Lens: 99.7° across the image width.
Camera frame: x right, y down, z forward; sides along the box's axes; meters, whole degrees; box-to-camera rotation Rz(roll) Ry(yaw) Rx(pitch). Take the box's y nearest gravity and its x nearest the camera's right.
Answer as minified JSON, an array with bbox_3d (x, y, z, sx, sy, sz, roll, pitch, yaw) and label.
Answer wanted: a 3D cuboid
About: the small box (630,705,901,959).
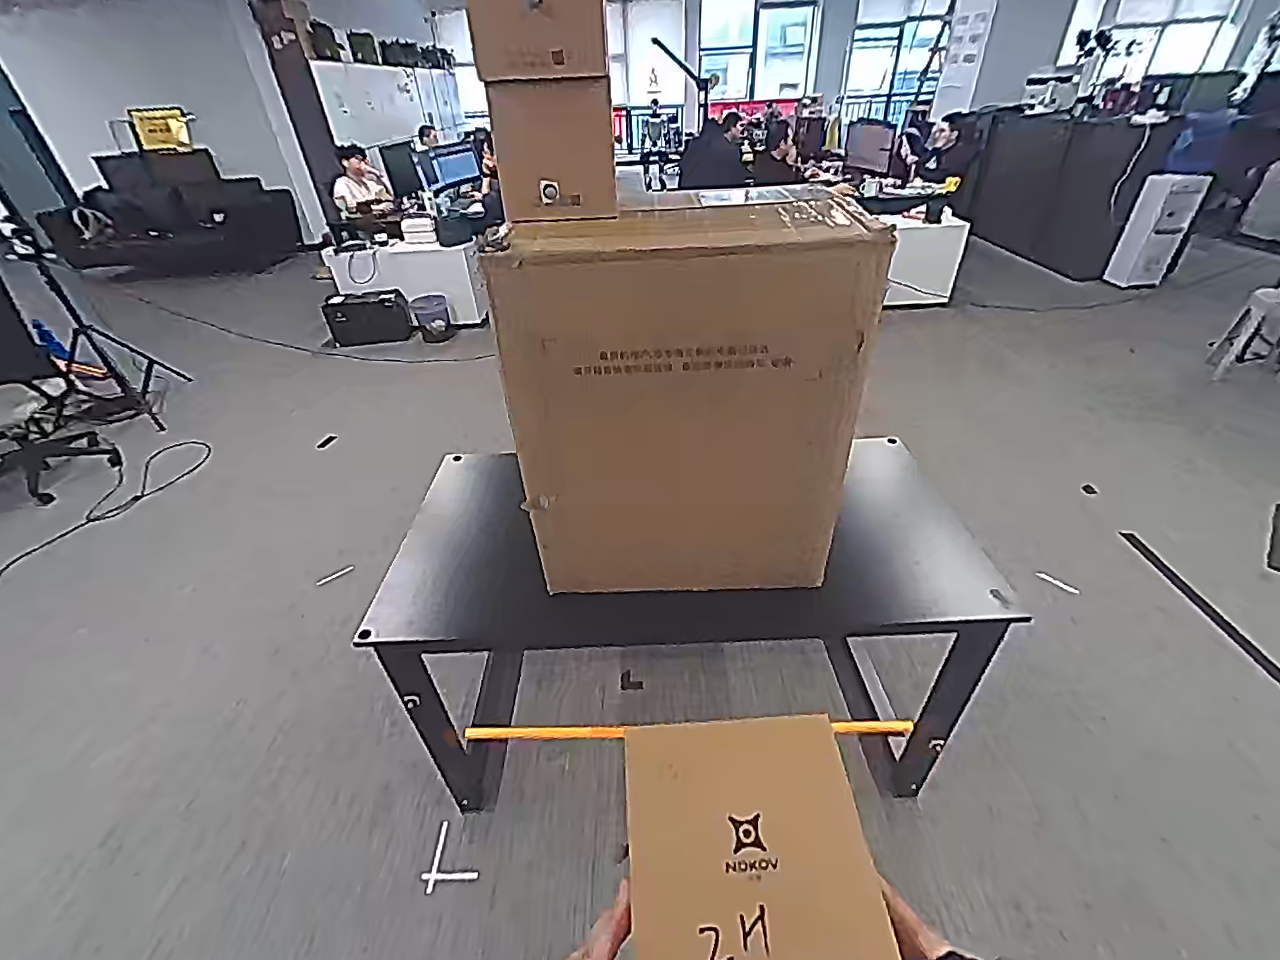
[{"bbox_3d":[0.077,0.305,0.434,0.168,0.176,0.179,-4,44,-1],"label":"small box"}]

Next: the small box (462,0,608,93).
[{"bbox_3d":[-0.130,-0.607,0.702,0.168,0.176,0.179,-4,36,-1],"label":"small box"}]

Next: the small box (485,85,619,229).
[{"bbox_3d":[-0.121,-0.482,0.809,0.168,0.176,0.179,-5,36,-2],"label":"small box"}]
